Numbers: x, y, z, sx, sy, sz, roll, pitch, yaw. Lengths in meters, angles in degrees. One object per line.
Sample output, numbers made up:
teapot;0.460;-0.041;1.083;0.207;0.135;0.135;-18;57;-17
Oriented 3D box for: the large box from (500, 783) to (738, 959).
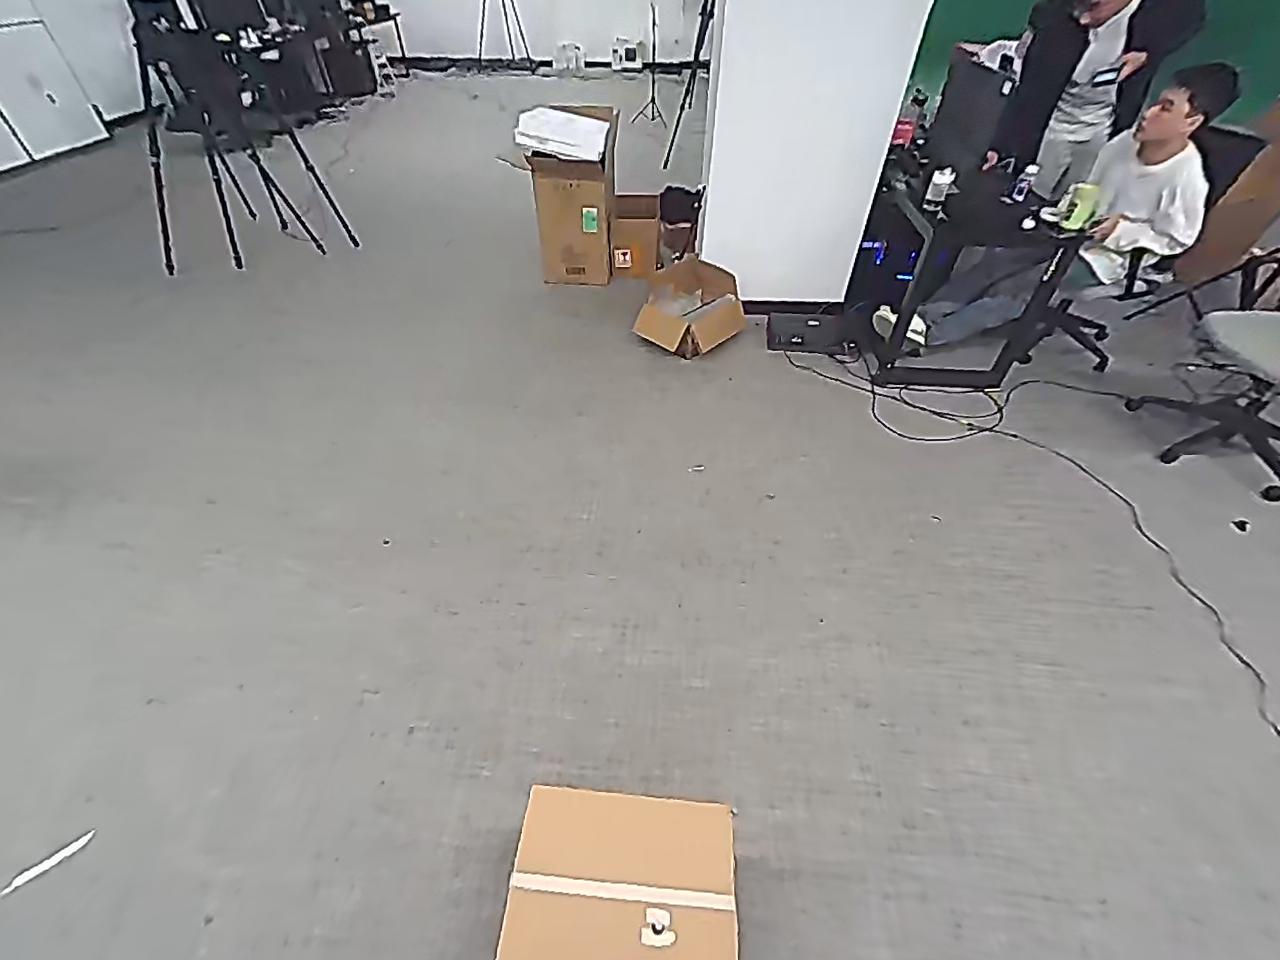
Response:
large box;-0.032;0.835;1.073;0.408;0.320;0.320;5;45;2
